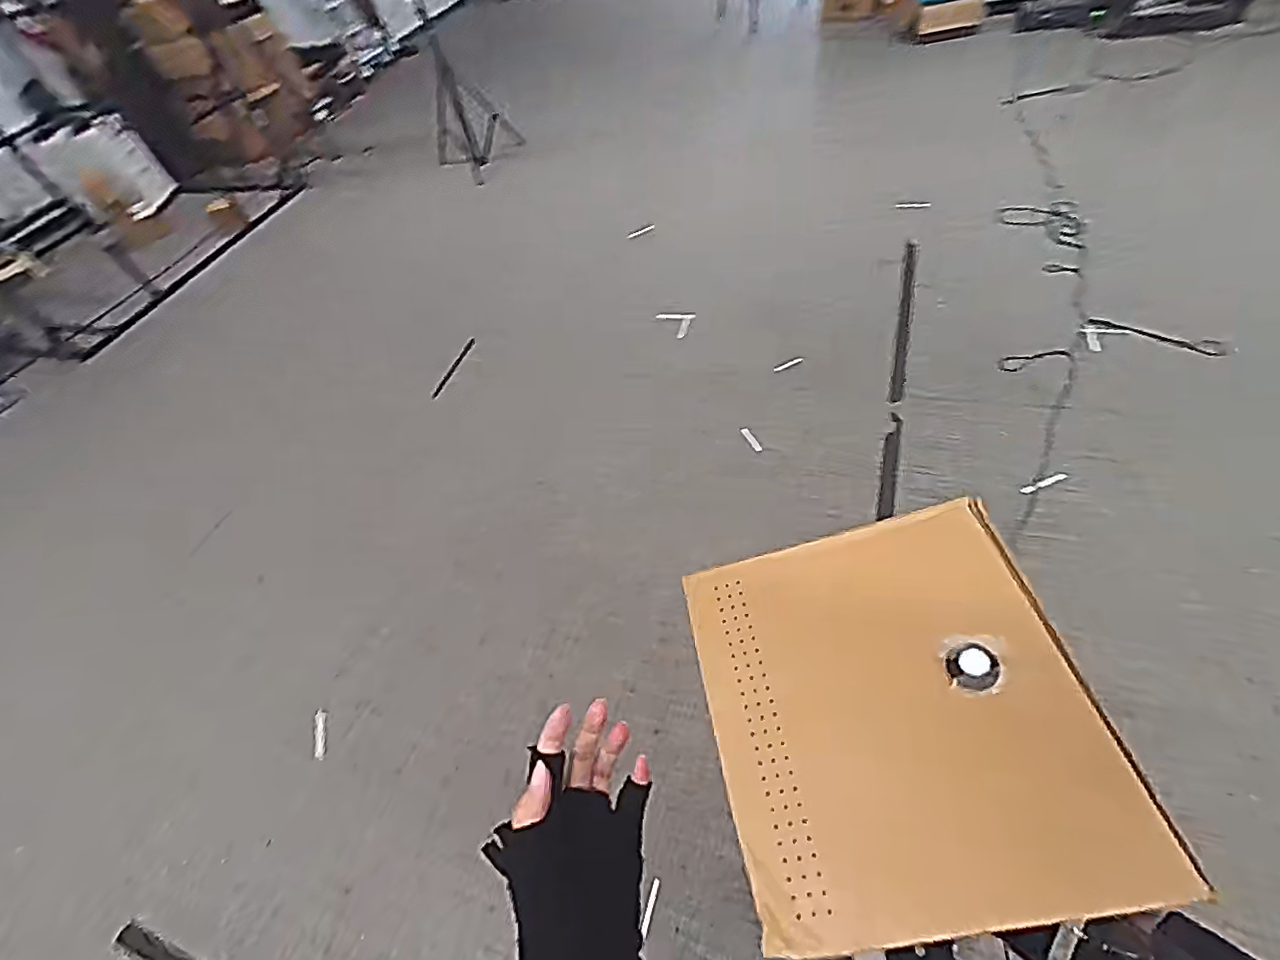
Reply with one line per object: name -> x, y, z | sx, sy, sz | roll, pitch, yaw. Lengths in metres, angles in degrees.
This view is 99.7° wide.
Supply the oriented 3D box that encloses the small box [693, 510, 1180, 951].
small box -> 0.139, 0.149, 0.328 | 0.176, 0.168, 0.179 | -18, 54, 12
